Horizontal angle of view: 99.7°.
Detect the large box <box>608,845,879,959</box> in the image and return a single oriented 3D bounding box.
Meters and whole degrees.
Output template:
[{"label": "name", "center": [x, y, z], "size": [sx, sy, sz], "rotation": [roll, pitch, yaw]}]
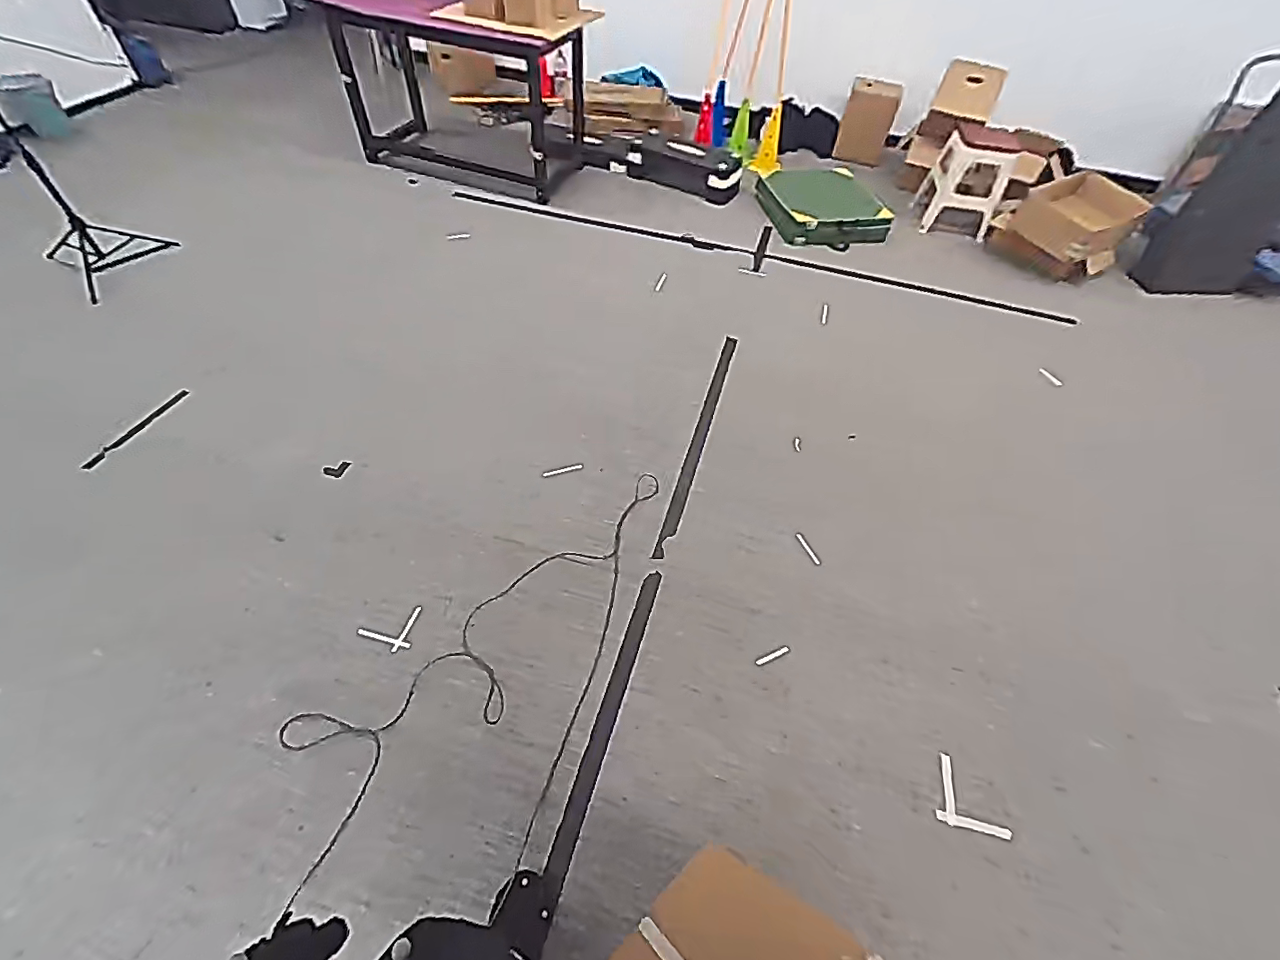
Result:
[{"label": "large box", "center": [0.164, 0.771, 0.690], "size": [0.320, 0.408, 0.320], "rotation": [-37, 89, -27]}]
